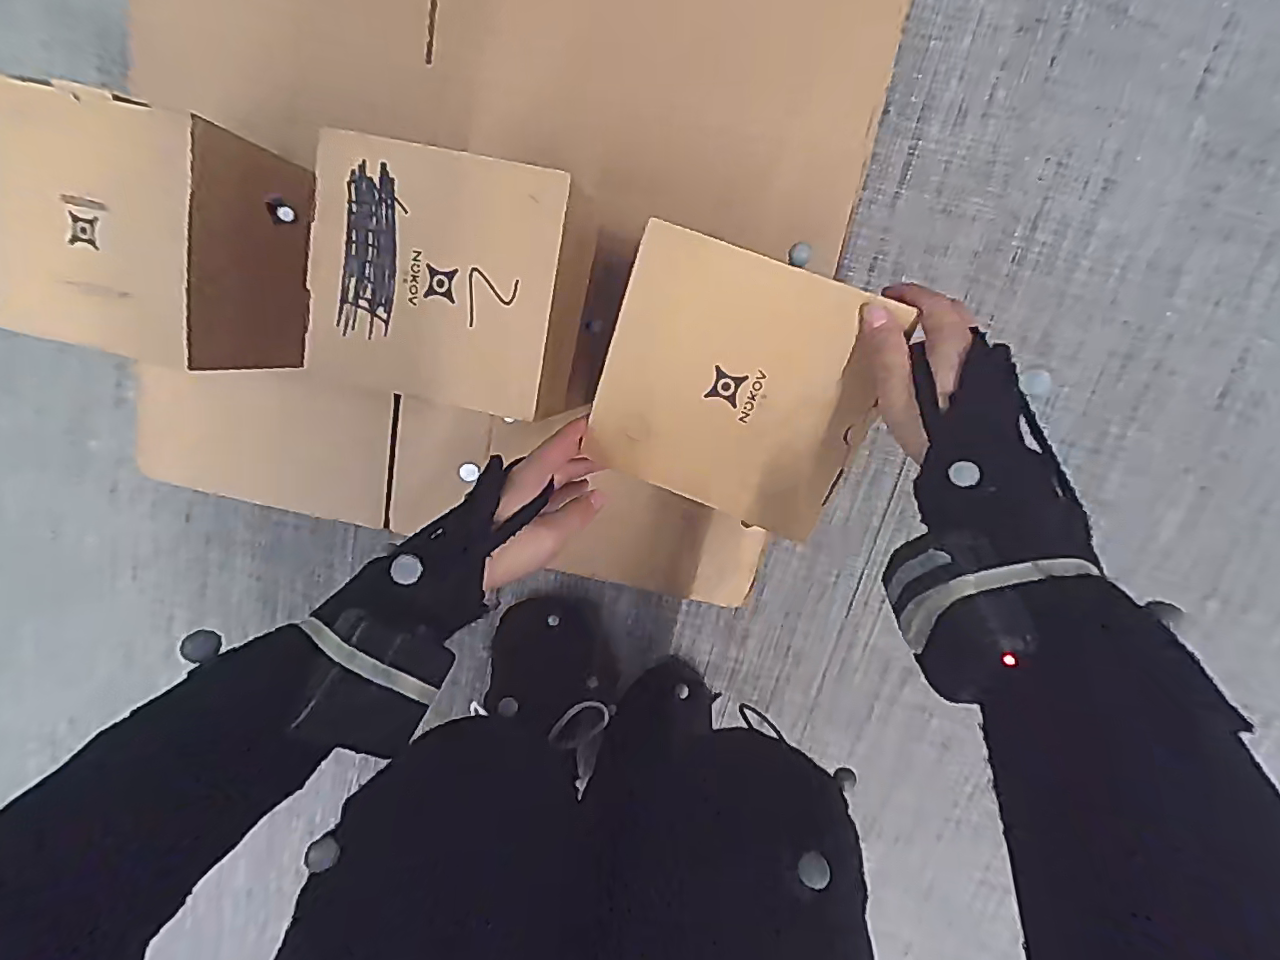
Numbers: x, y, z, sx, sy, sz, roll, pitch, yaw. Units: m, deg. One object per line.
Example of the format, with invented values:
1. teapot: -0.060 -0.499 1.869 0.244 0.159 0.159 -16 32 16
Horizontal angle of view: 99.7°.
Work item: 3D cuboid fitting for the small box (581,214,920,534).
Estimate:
1. small box: 0.078 -0.087 0.429 0.179 0.176 0.168 21 112 5
